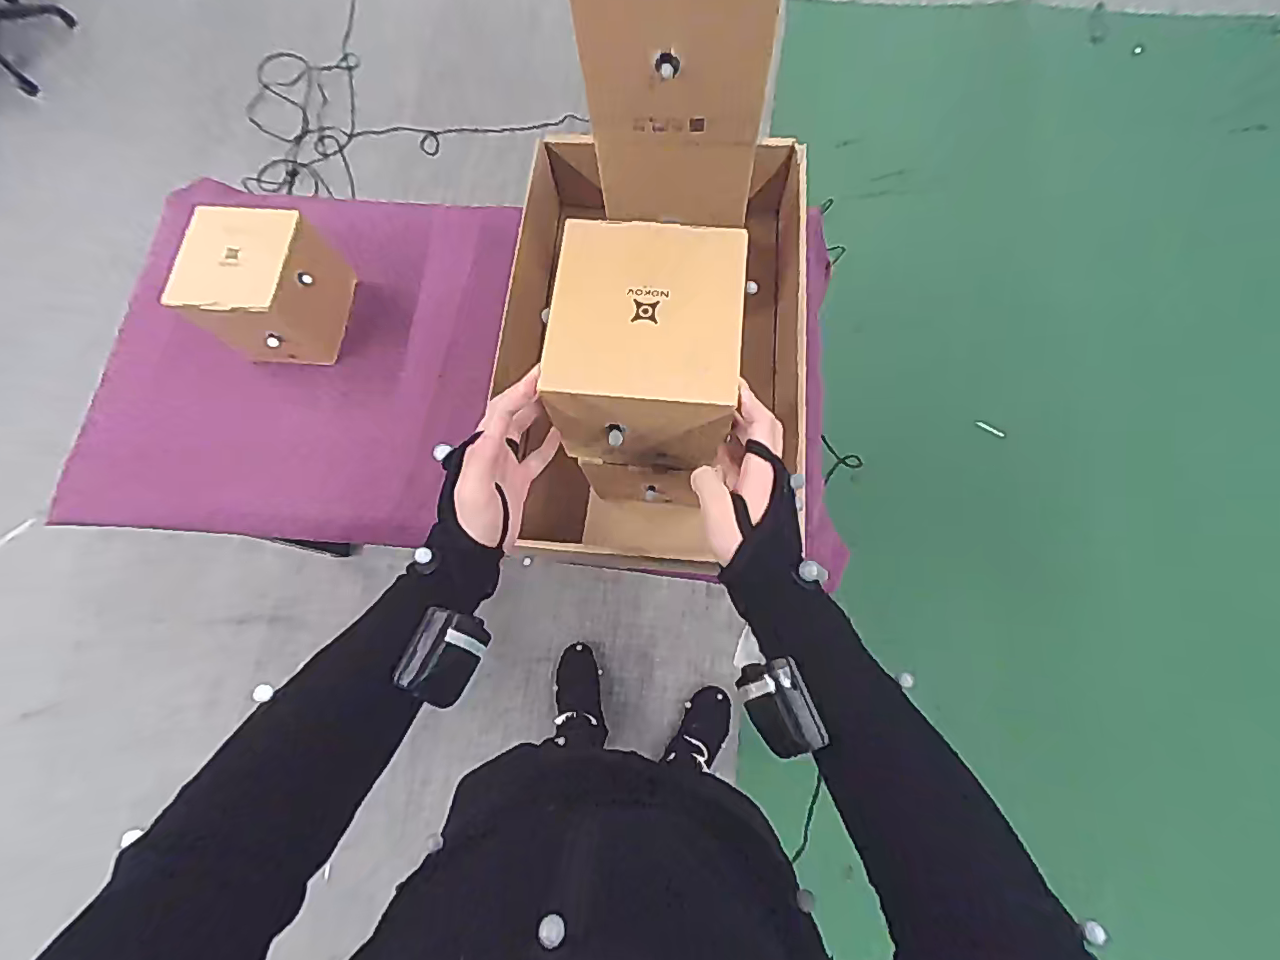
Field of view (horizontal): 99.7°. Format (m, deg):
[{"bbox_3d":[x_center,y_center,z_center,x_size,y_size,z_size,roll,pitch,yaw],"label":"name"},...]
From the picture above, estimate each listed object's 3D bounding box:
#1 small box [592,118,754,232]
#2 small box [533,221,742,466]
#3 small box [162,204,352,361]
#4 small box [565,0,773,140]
[{"bbox_3d":[0.043,-0.397,0.640,0.168,0.176,0.179,2,76,5],"label":"small box"},{"bbox_3d":[0.005,-0.123,0.538,0.168,0.176,0.179,5,73,4],"label":"small box"},{"bbox_3d":[-0.599,-0.309,0.873,0.168,0.176,0.179,5,74,3],"label":"small box"},{"bbox_3d":[0.033,-0.437,0.480,0.168,0.176,0.179,4,75,4],"label":"small box"}]
